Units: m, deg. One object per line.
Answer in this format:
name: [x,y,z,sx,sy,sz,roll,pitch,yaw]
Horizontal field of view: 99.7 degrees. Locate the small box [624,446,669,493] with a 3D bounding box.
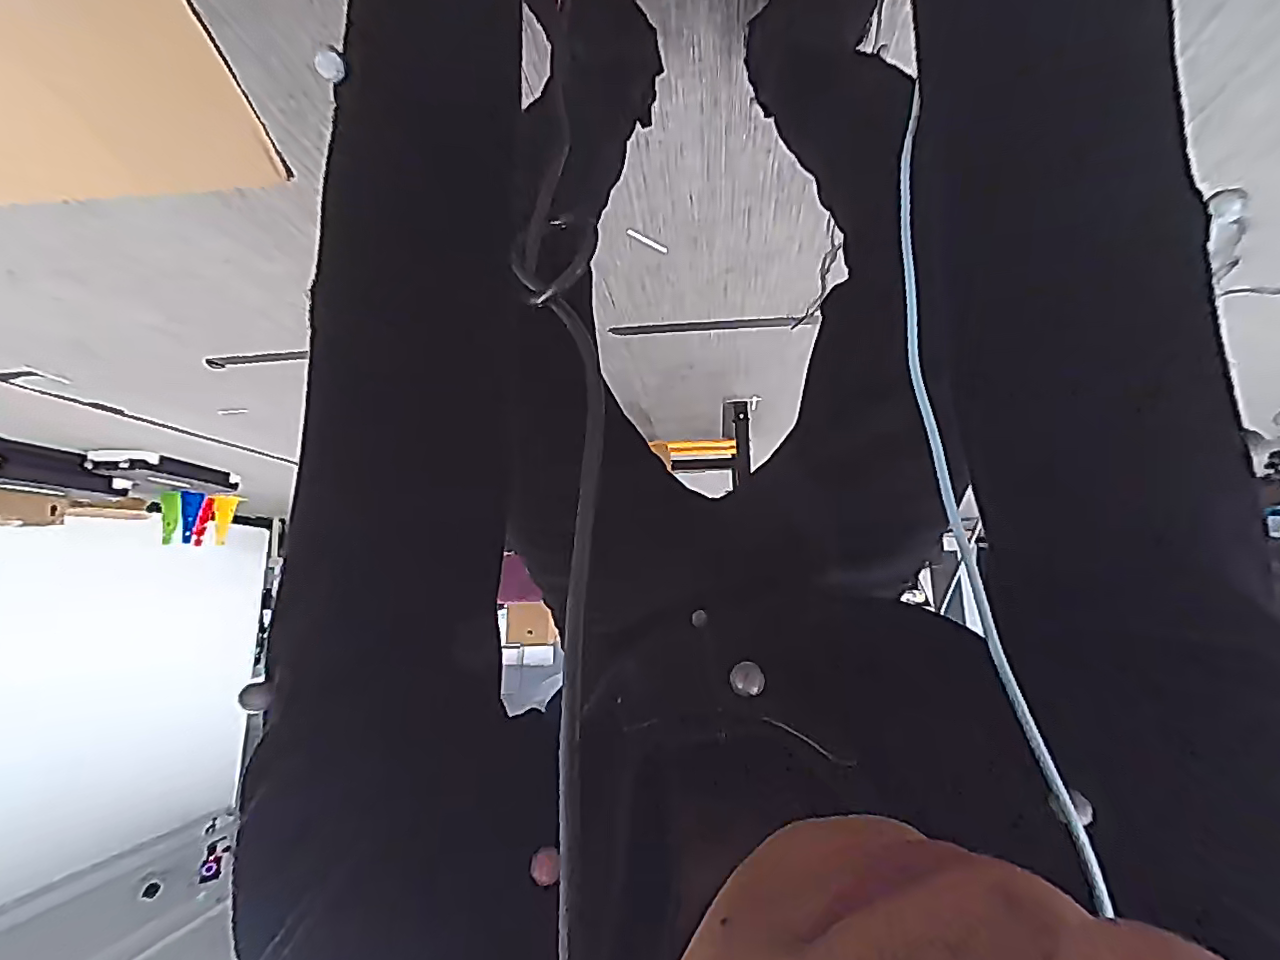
small box: [0.032,-0.042,2.297,0.179,0.176,0.168,-3,169,9]

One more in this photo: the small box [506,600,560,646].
small box: [-0.430,0.574,2.184,0.179,0.176,0.168,-2,168,8]
